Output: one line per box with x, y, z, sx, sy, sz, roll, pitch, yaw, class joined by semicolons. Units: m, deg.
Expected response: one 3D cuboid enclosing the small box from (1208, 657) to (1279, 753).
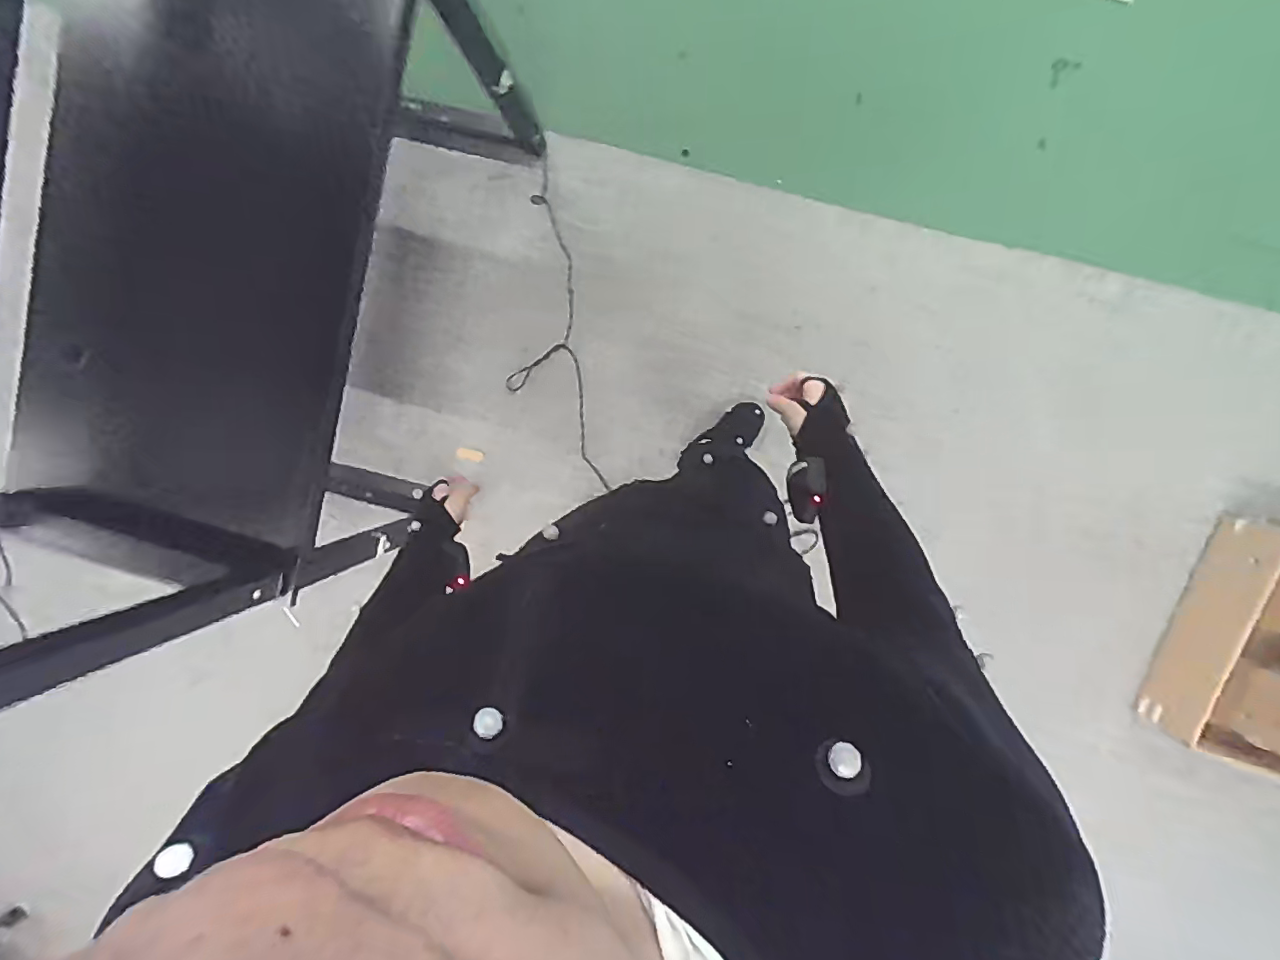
1.617;0.583;1.366;0.168;0.176;0.179;21;97;4;small box
